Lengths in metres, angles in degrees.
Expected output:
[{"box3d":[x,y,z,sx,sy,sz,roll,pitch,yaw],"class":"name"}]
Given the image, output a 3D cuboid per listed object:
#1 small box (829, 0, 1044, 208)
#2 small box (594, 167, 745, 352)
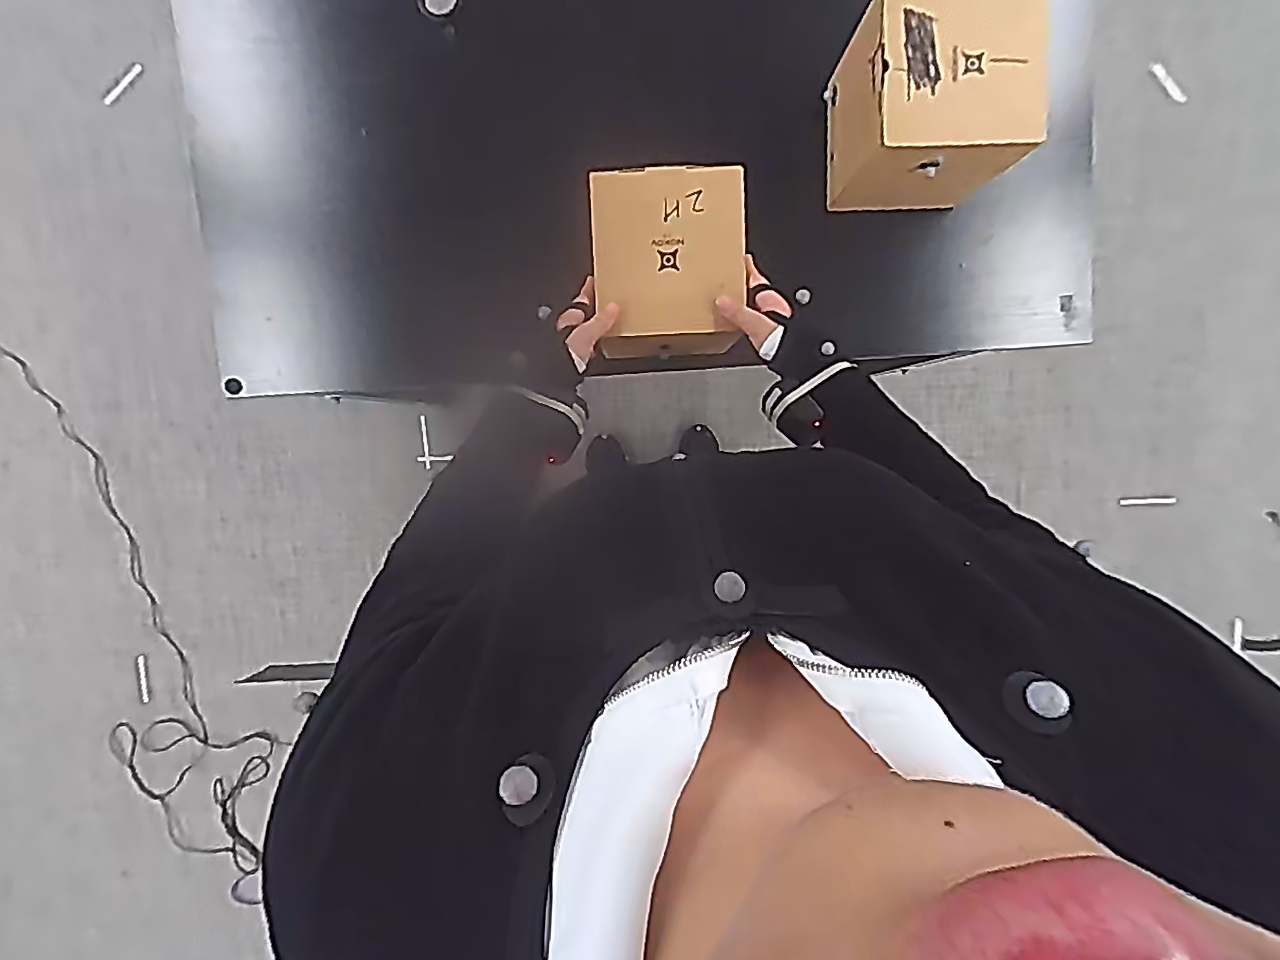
[{"box3d":[0.338,-0.445,0.651,0.179,0.176,0.168,-1,95,0],"class":"small box"},{"box3d":[0.034,-0.256,0.670,0.168,0.176,0.179,-2,95,0],"class":"small box"}]
